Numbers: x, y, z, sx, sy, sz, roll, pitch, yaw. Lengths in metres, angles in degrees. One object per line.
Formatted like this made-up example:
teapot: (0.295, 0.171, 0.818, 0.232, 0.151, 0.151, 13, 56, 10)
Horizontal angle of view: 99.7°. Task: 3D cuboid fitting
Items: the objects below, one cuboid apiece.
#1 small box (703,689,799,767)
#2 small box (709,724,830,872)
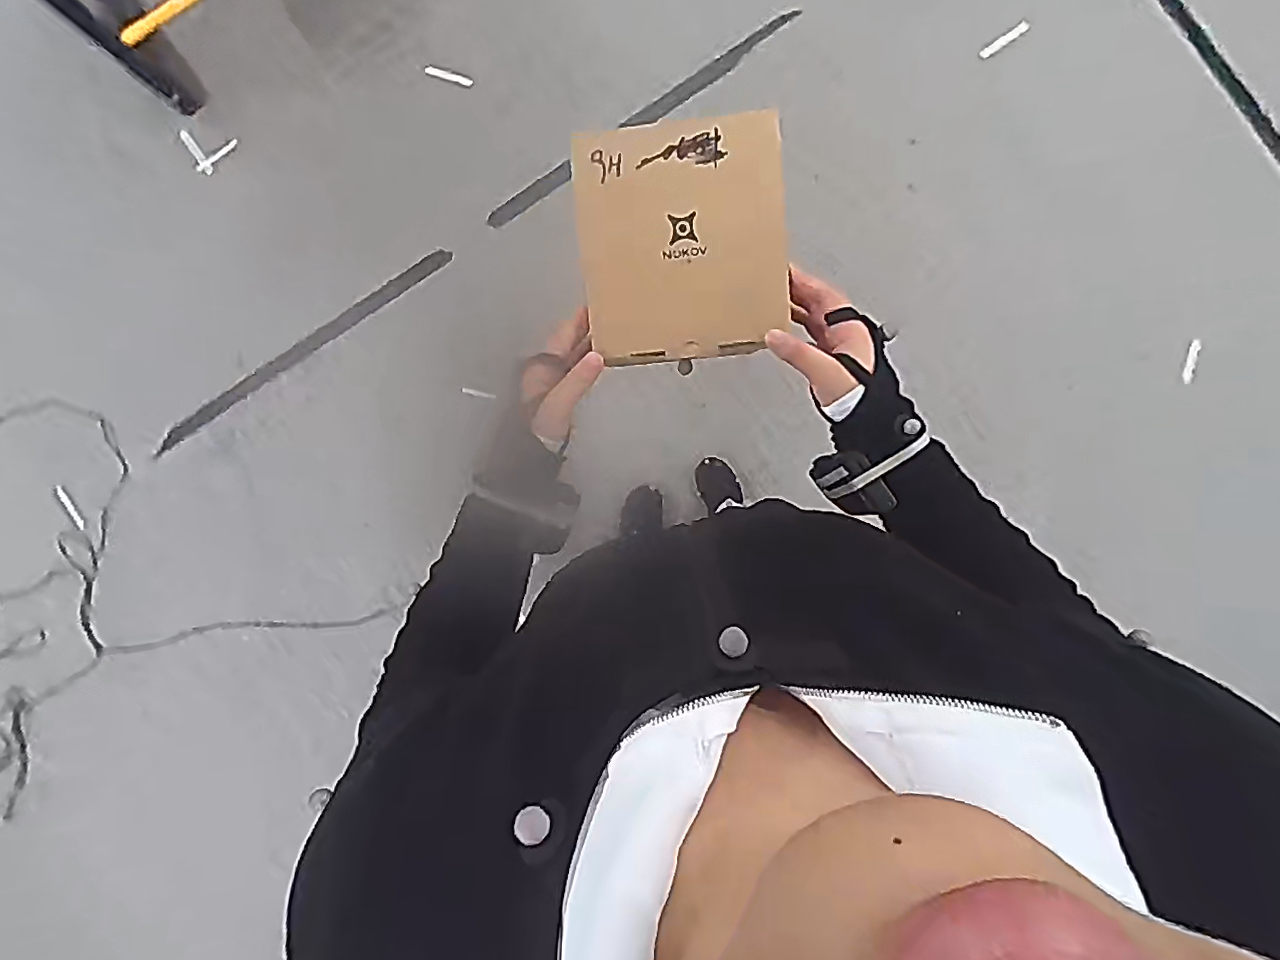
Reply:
small box: (0.267, 0.647, 1.314, 0.168, 0.176, 0.179, -31, 89, 1)
small box: (0.266, 0.663, 1.149, 0.168, 0.176, 0.179, -35, 89, 1)
